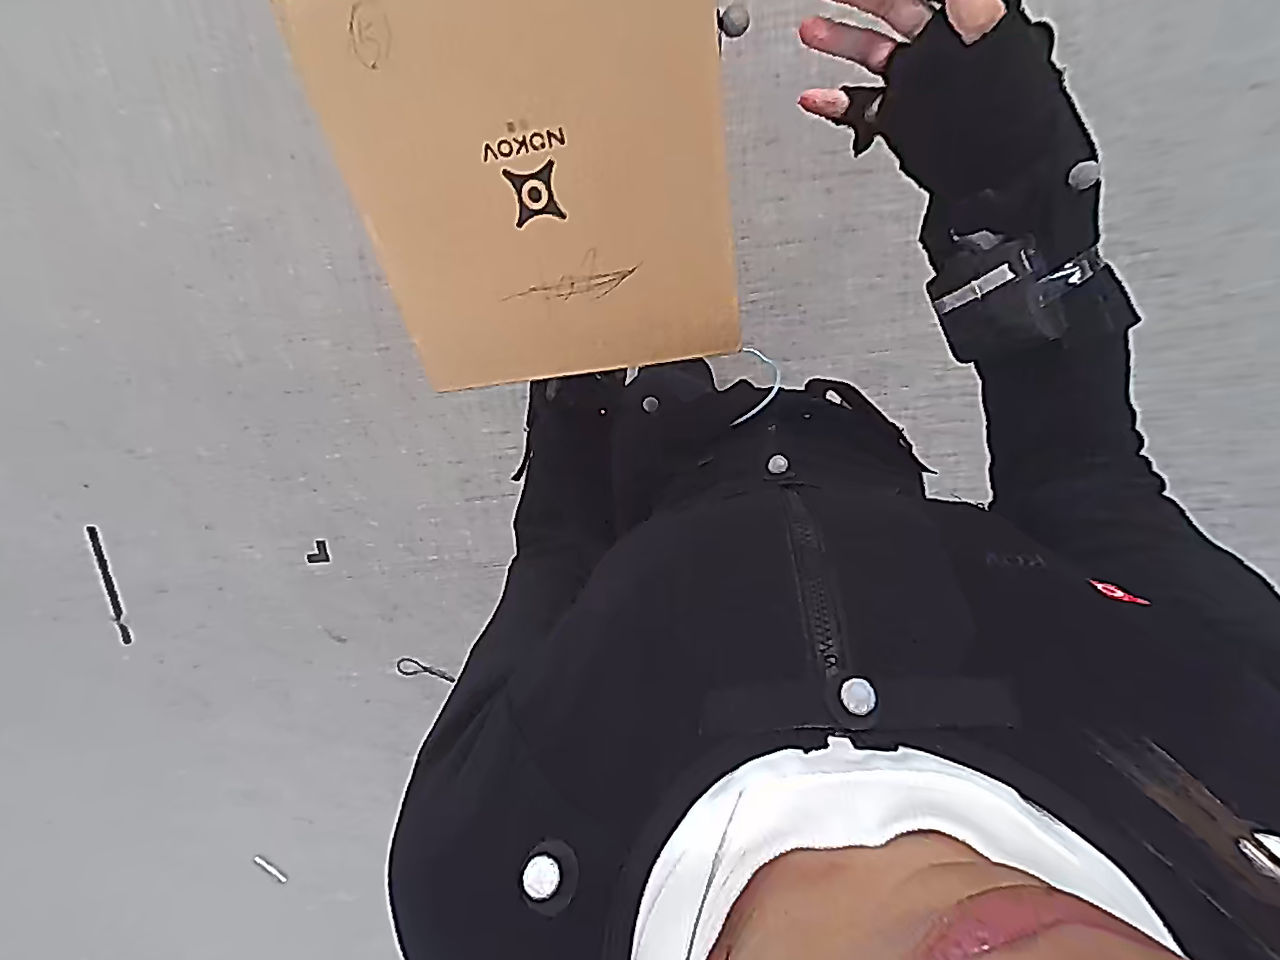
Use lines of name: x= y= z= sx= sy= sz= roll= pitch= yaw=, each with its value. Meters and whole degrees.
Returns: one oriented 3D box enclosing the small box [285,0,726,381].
small box: x=-0.041 y=-0.177 z=0.310 sx=0.168 sy=0.176 sz=0.179 roll=-4 pitch=123 yaw=11
